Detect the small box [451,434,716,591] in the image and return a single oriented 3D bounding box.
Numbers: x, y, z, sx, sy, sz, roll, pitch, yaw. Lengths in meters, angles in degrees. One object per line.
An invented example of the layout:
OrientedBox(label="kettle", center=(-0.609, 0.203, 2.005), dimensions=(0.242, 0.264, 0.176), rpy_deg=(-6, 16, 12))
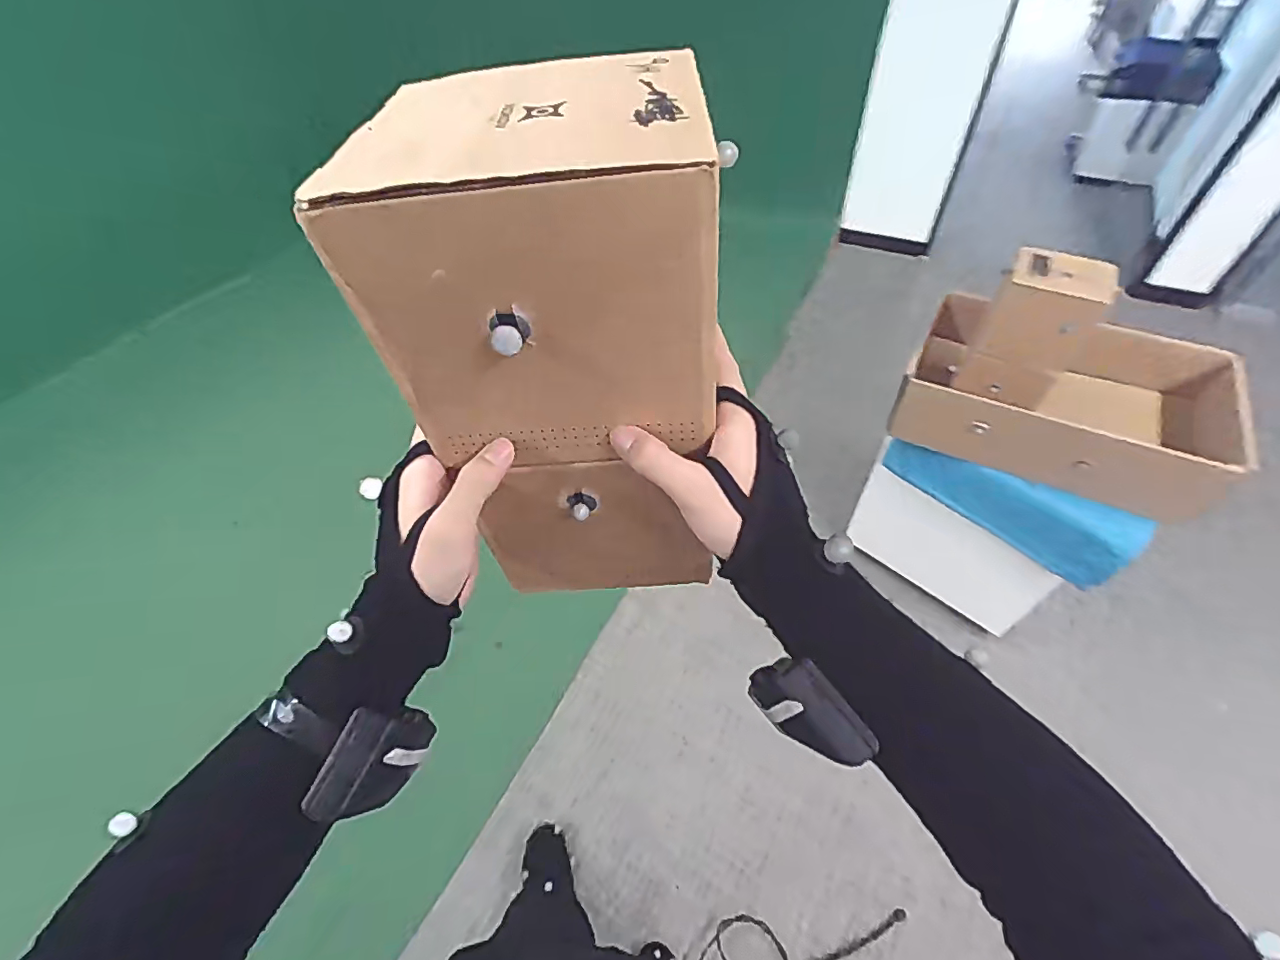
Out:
OrientedBox(label="small box", center=(-0.028, -0.018, 0.455), dimensions=(0.179, 0.176, 0.168), rpy_deg=(-2, 49, 4))

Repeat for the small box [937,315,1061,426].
OrientedBox(label="small box", center=(0.835, -0.252, 1.267), dimensions=(0.179, 0.176, 0.168), rpy_deg=(24, 55, 20))

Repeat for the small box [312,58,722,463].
OrientedBox(label="small box", center=(-0.043, -0.124, 0.331), dimensions=(0.179, 0.176, 0.168), rpy_deg=(-4, 50, 5))
